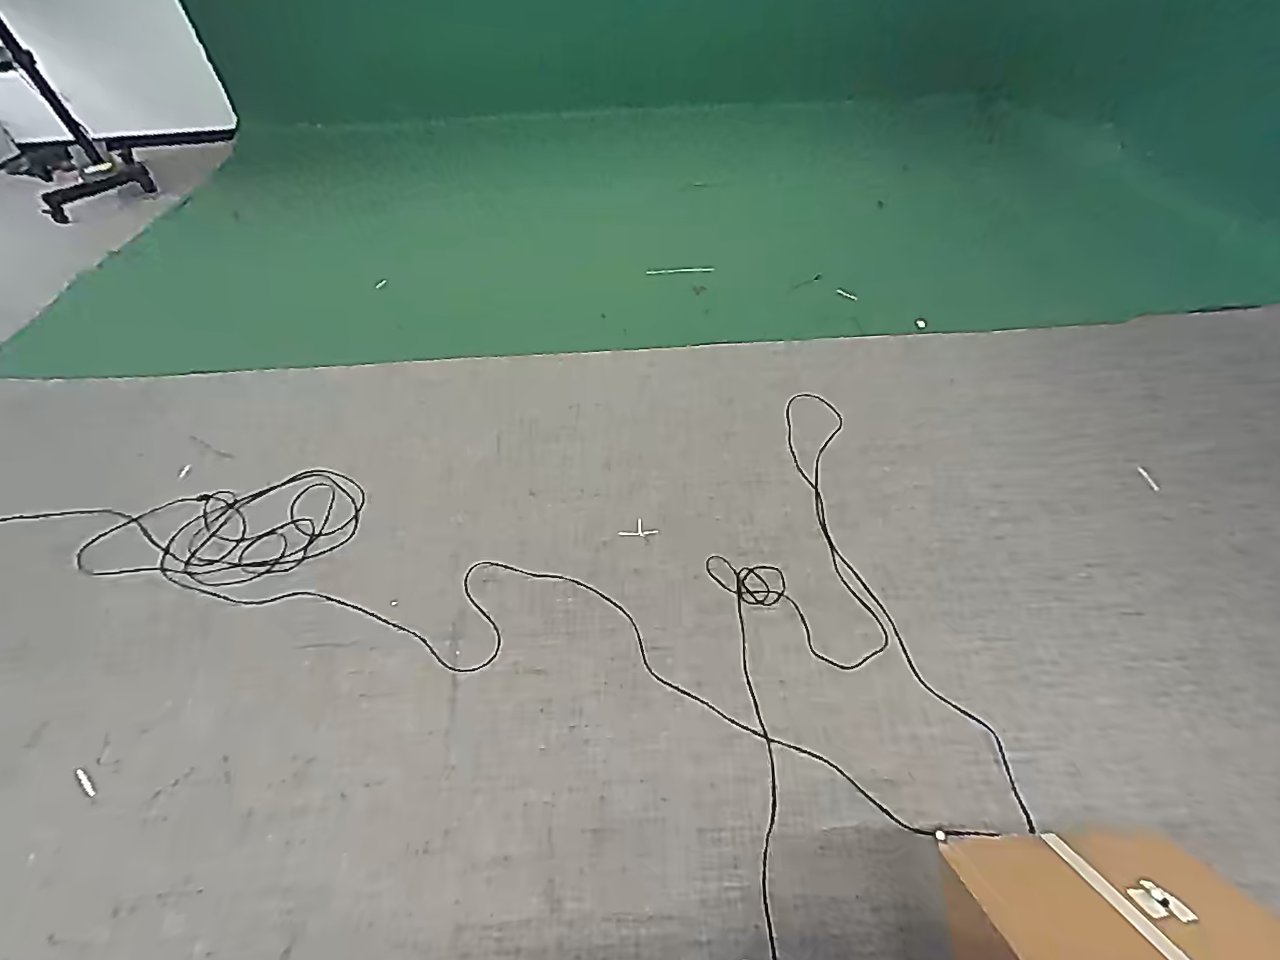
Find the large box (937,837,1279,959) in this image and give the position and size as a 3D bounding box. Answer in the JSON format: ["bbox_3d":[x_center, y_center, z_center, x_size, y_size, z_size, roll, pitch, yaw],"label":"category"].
[{"bbox_3d":[0.600,0.686,0.597,0.320,0.408,0.320,-5,89,3],"label":"large box"}]
